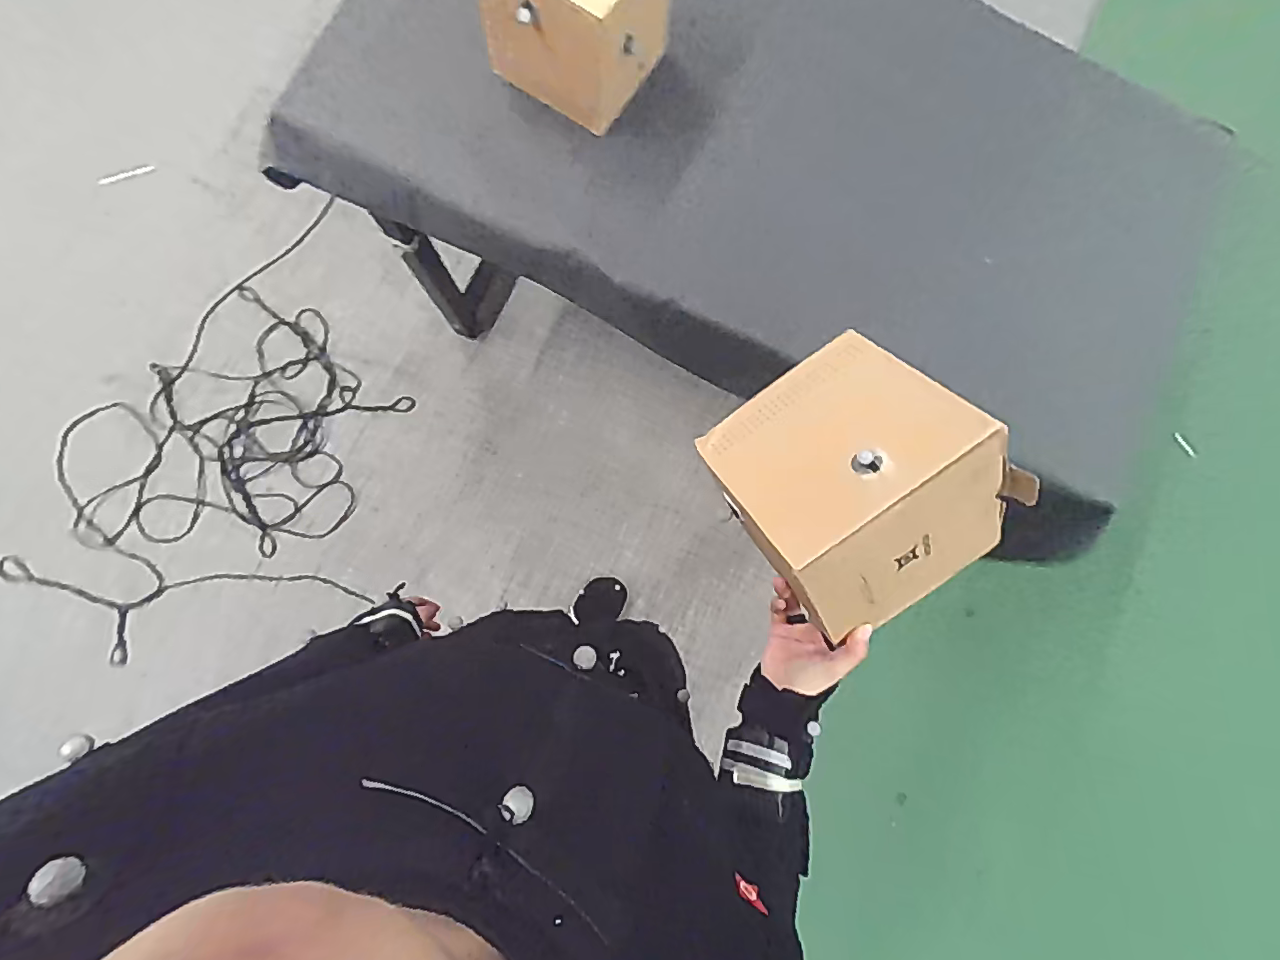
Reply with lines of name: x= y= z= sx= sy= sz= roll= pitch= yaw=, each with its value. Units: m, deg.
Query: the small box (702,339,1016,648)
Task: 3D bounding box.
small box: x=0.185 y=0.009 z=0.479 sx=0.179 sy=0.168 sz=0.176 roll=-36 pitch=45 yaw=3

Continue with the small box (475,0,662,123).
small box: x=-0.081 y=-0.582 z=0.653 sx=0.179 sy=0.176 sz=0.168 roll=32 pitch=81 yaw=1
